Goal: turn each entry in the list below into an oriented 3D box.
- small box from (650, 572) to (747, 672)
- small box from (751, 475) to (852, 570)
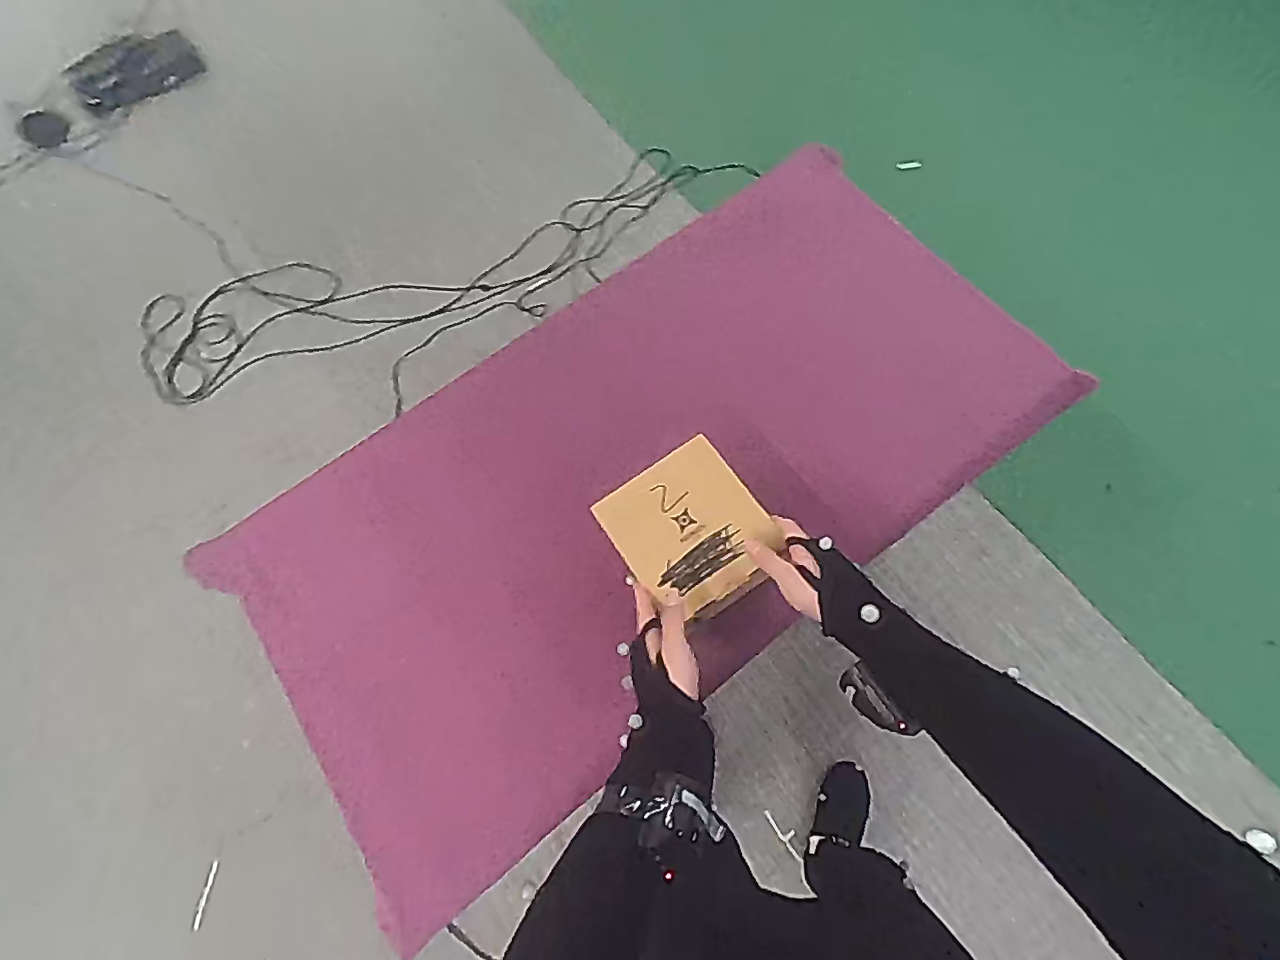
[{"bbox_3d":[0.142,0.359,1.362,0.179,0.176,0.168,-43,73,-10],"label":"small box"},{"bbox_3d":[0.417,0.122,1.426,0.168,0.176,0.179,-39,72,-10],"label":"small box"}]
